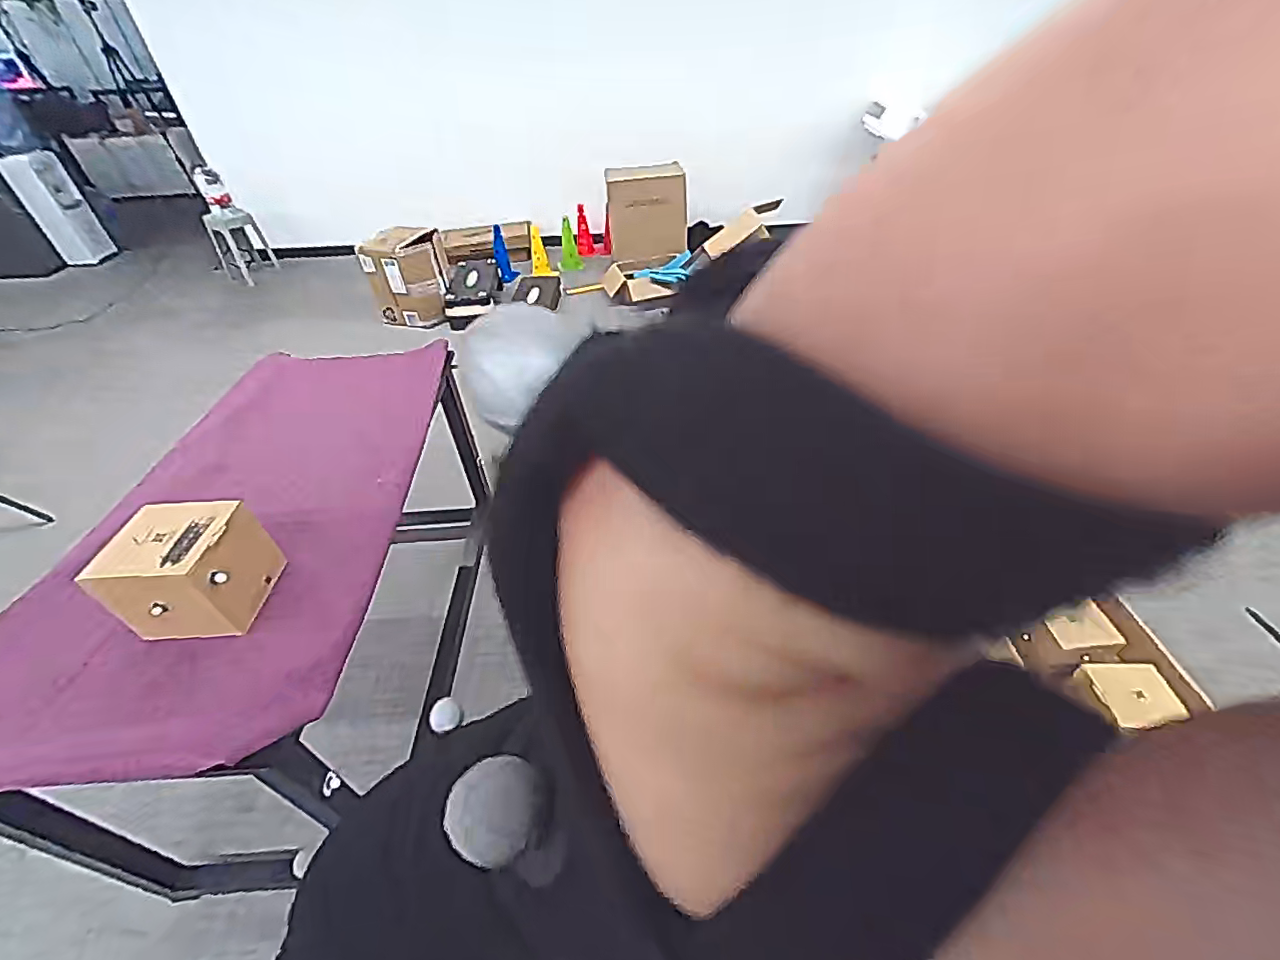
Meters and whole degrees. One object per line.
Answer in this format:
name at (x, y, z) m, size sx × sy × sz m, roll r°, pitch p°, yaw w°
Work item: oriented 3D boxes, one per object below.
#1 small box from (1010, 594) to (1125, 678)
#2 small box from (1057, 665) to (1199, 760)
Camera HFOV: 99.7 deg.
small box at (1.189, 0.445, 1.528) m, size 0.179 × 0.176 × 0.168 m, roll -5°, pitch 43°, yaw -2°
small box at (1.219, 0.589, 1.368) m, size 0.179 × 0.176 × 0.168 m, roll 0°, pitch 41°, yaw 4°
